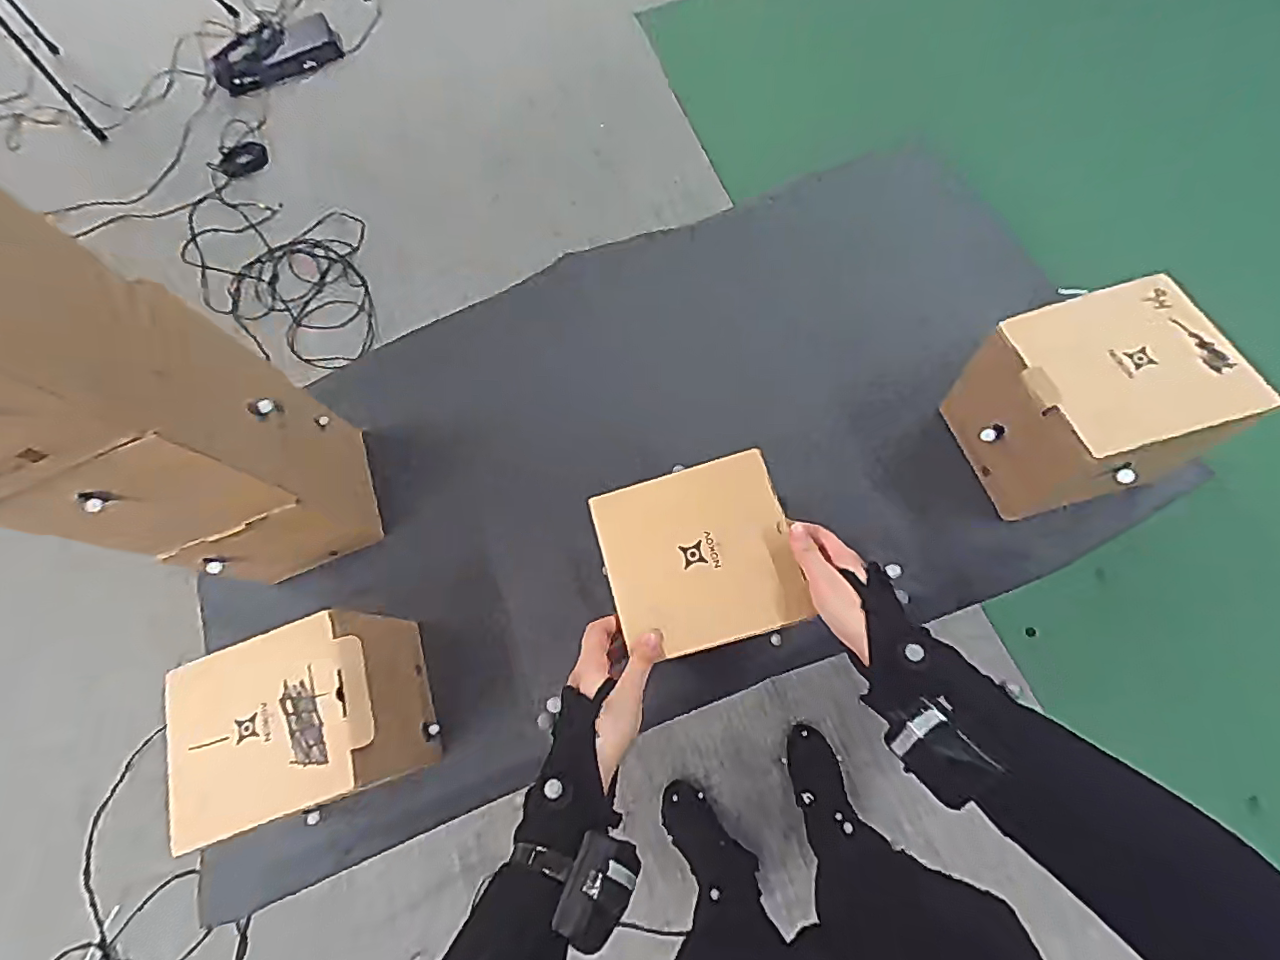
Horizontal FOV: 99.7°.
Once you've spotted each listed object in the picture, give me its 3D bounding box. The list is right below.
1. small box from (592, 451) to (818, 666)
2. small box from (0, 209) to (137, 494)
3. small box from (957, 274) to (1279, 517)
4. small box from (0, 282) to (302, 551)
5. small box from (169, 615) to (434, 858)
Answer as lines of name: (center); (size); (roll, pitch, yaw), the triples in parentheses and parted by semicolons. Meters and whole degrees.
small box: (0.066, 0.092, 0.575); (0.179, 0.176, 0.168); (-17, 72, 2)
small box: (-0.495, -0.095, 0.365); (0.168, 0.176, 0.179); (-25, 69, -3)
small box: (0.472, -0.076, 0.575); (0.179, 0.176, 0.168); (-17, 65, 3)
small box: (-0.469, -0.046, 0.518); (0.179, 0.176, 0.168); (-22, 71, -1)
small box: (-0.340, 0.254, 0.573); (0.179, 0.176, 0.168); (-21, 70, 0)
